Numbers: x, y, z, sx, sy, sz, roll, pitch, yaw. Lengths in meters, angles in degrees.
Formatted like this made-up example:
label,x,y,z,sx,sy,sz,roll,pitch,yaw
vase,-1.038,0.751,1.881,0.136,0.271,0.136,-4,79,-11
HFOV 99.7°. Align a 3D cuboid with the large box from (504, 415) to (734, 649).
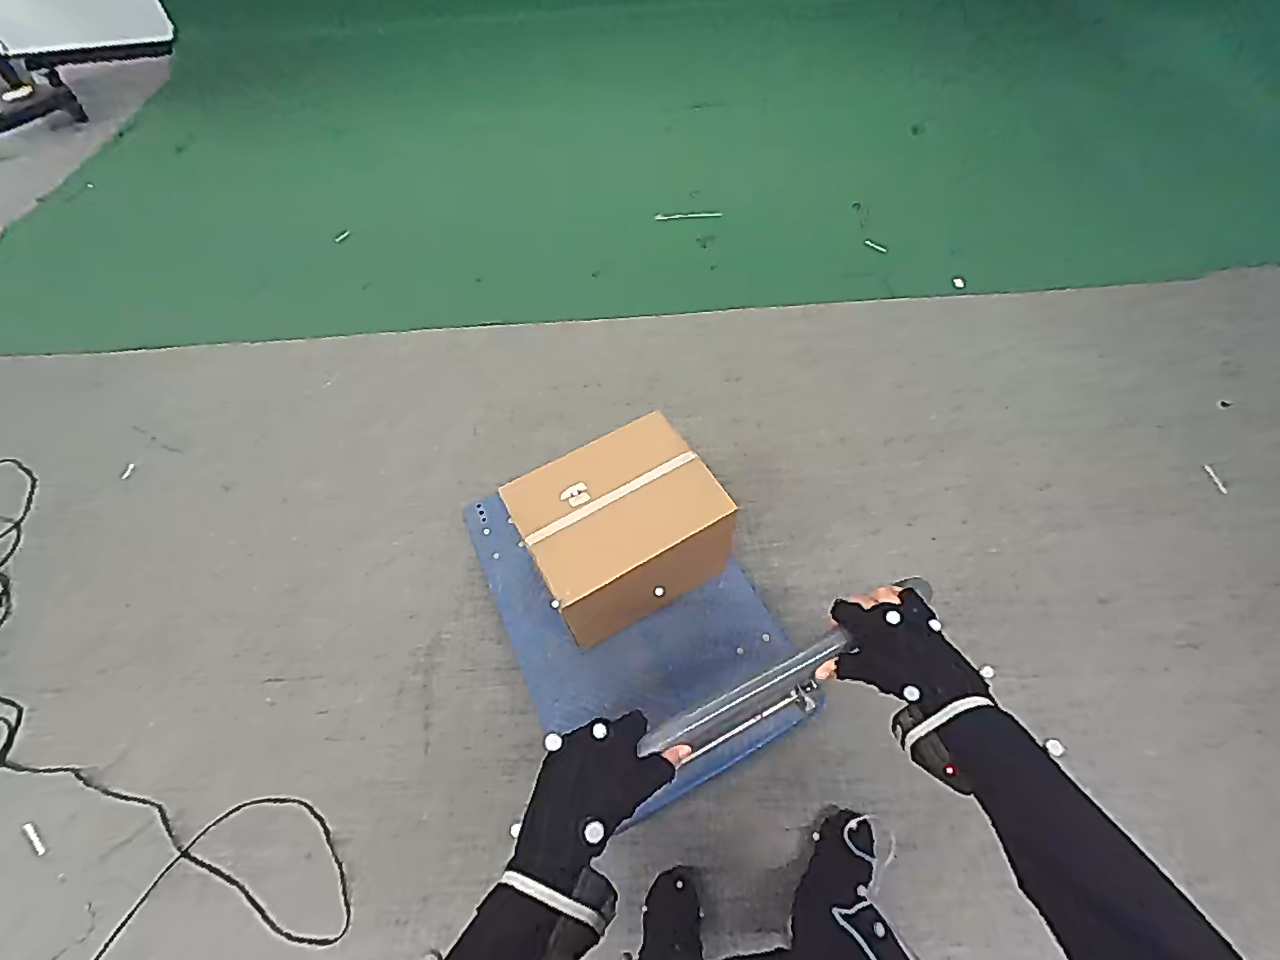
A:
label,x,y,z,sx,sy,sz,roll,pitch,yaw
large box,-0.039,0.127,1.264,0.408,0.320,0.320,-30,60,-13
